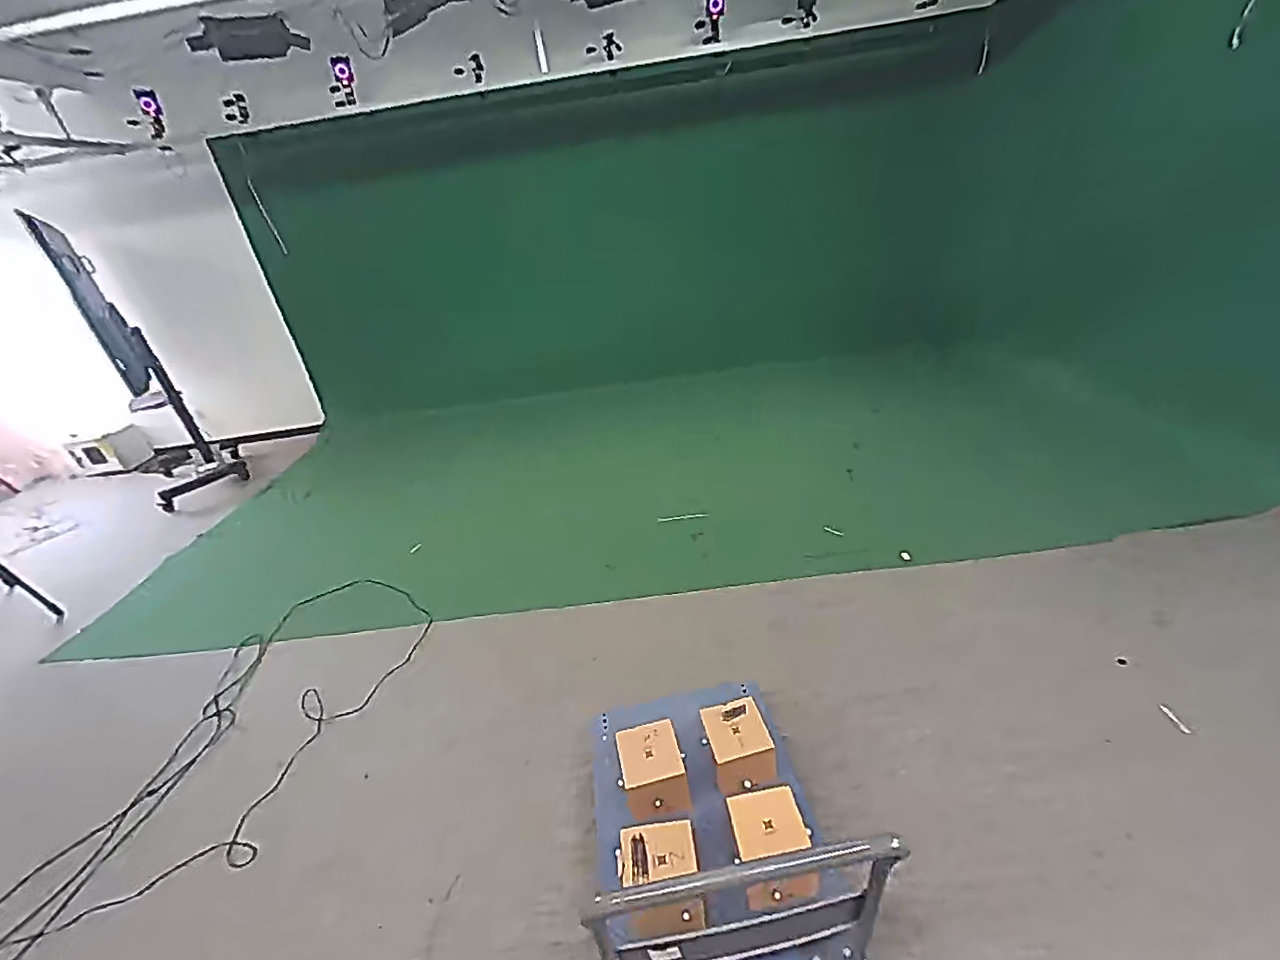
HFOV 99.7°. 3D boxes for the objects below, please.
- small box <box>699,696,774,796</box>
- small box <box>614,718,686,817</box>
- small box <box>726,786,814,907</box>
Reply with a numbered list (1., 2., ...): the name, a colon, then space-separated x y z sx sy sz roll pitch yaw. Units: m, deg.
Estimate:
1. small box: 0.274 0.764 1.556 0.168 0.176 0.179 -13 30 -6
2. small box: 0.029 0.817 1.527 0.168 0.176 0.179 -11 29 -7
3. small box: 0.311 0.892 1.321 0.168 0.176 0.179 -9 29 -2
